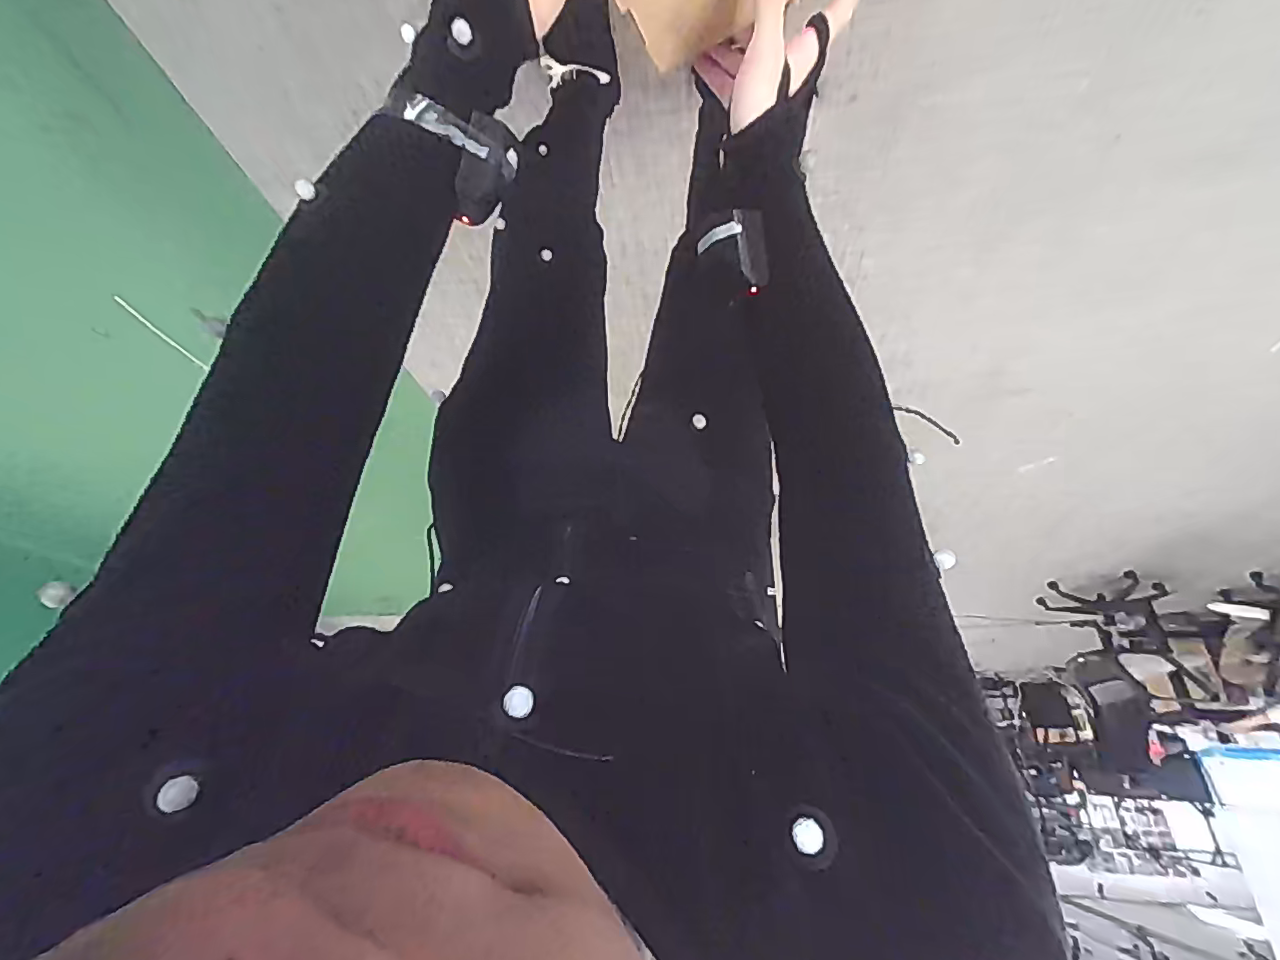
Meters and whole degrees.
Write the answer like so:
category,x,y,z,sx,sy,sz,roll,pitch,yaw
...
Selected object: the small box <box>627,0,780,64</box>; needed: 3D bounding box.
category,x,y,z,sx,sy,sz,roll,pitch,yaw
small box,0.047,-0.474,0.391,0.179,0.176,0.168,-16,163,21
